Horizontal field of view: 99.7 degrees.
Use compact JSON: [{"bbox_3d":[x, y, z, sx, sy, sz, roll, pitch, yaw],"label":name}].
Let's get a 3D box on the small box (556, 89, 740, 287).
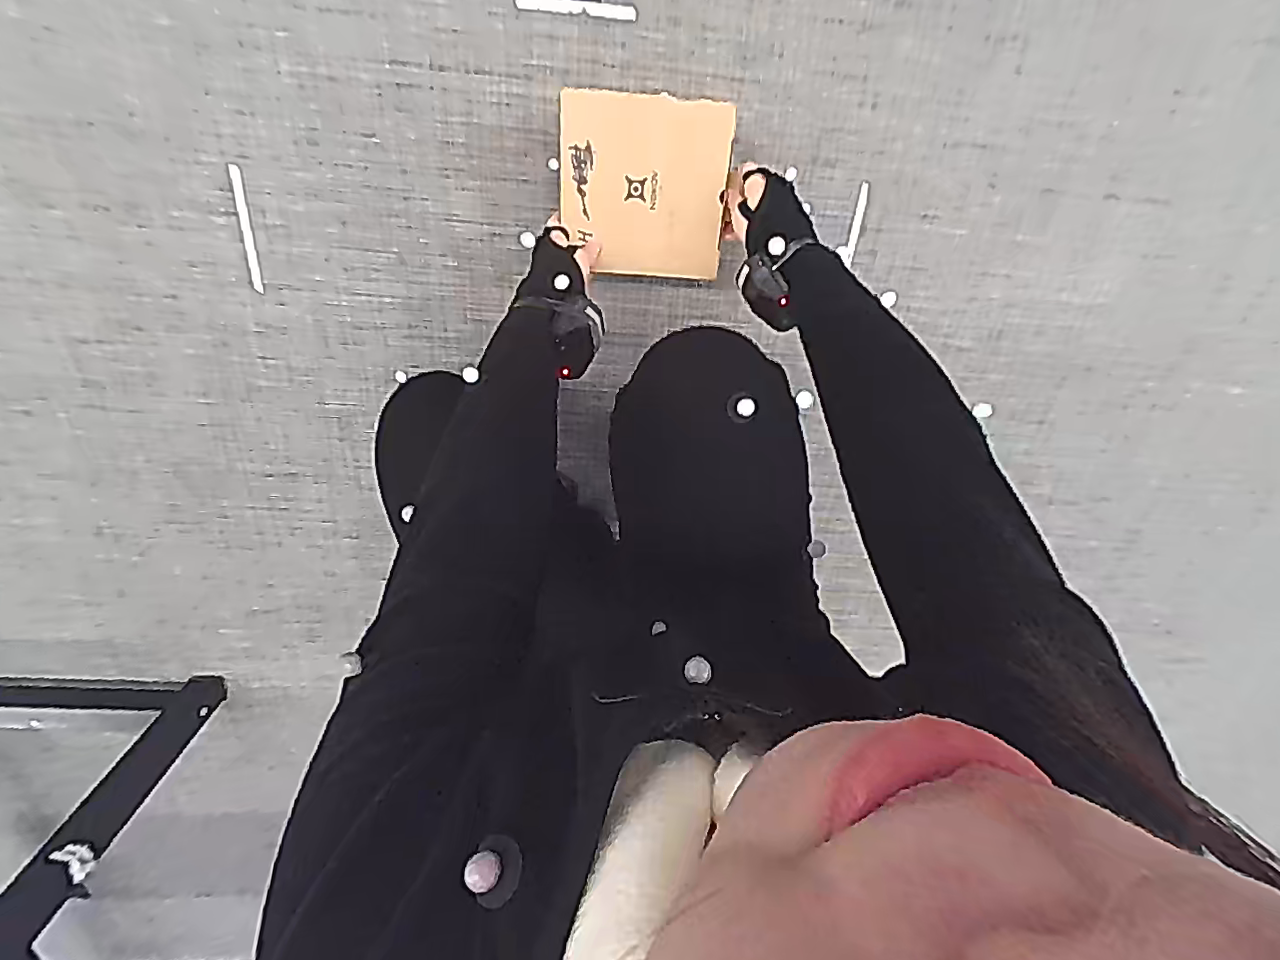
[{"bbox_3d":[0.002,-0.326,0.617,0.179,0.176,0.168,4,118,-3],"label":"small box"}]
